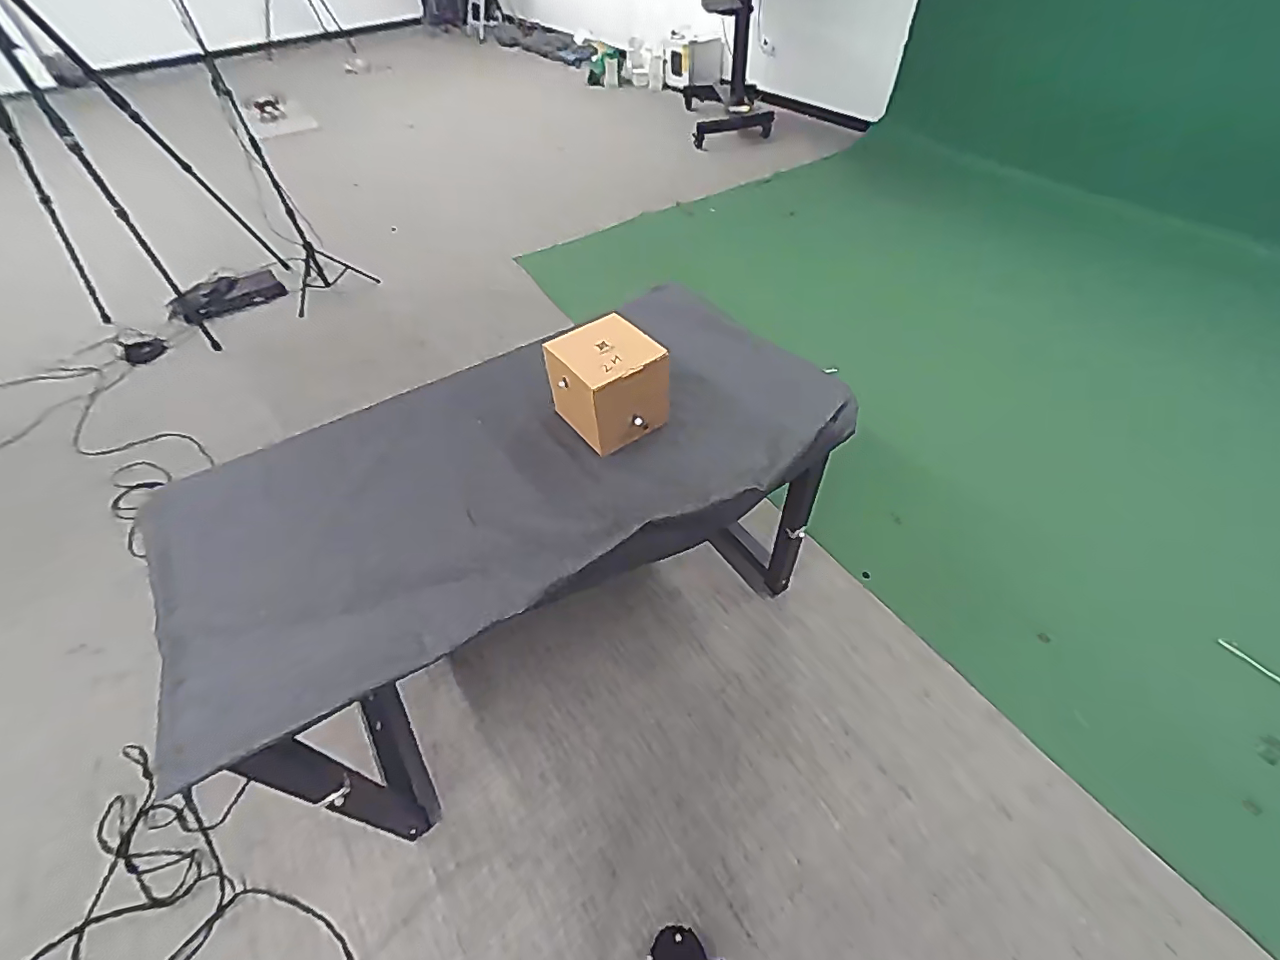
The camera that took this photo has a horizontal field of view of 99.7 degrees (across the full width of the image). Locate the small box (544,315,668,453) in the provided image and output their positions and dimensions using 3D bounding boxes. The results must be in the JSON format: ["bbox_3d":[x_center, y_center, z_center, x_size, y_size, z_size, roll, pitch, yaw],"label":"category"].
[{"bbox_3d":[-0.062,-0.183,1.041,0.168,0.176,0.179,-30,54,-21],"label":"small box"}]
